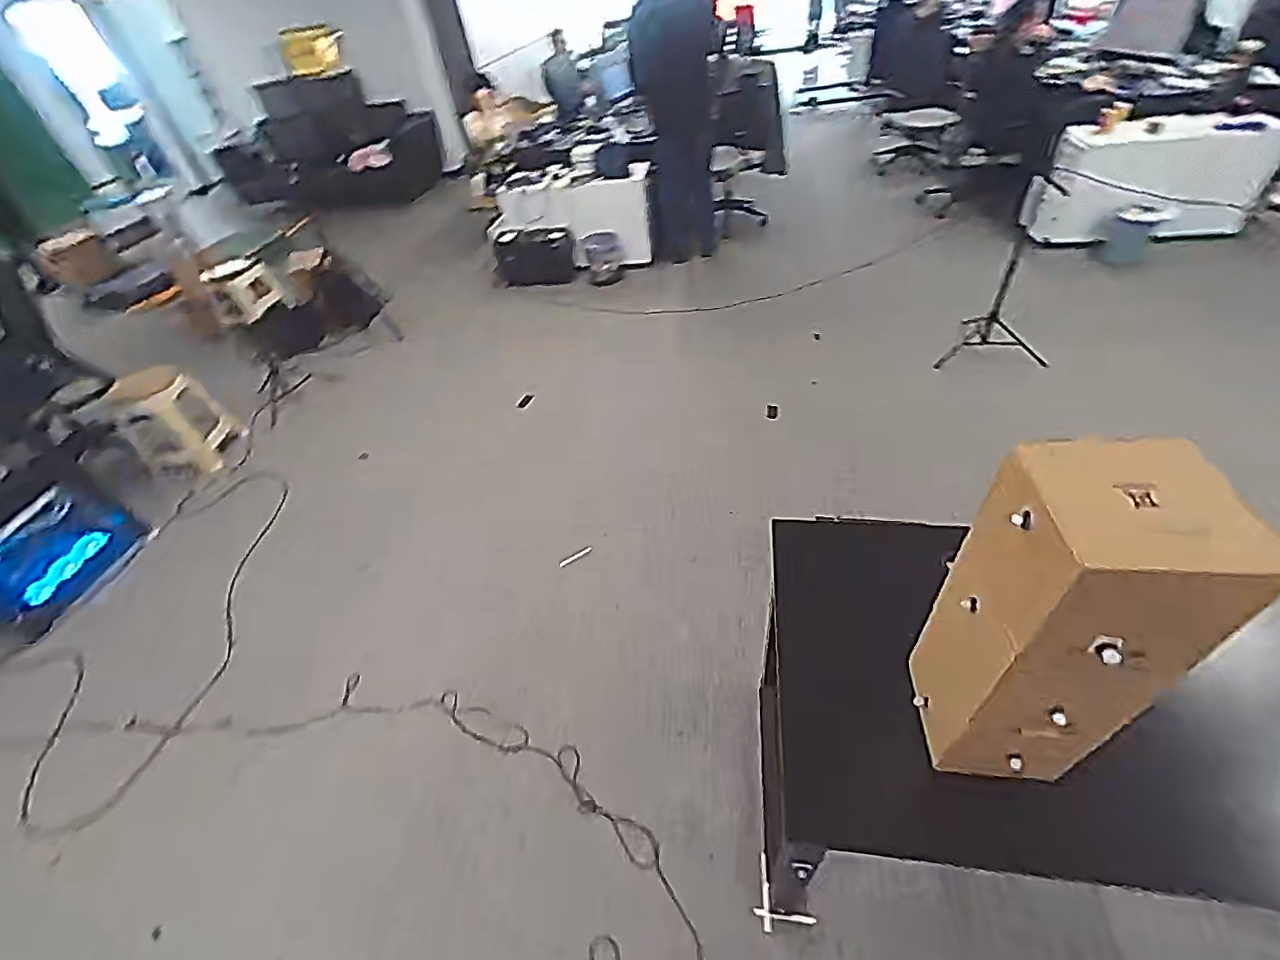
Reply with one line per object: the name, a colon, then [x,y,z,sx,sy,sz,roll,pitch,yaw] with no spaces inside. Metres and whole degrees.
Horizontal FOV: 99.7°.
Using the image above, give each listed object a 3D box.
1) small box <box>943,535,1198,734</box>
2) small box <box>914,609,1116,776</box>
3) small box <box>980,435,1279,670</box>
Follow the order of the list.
small box: [0.502,0.189,0.672,0.168,0.176,0.179,0,44,10]
small box: [0.520,0.309,0.783,0.168,0.176,0.179,0,44,9]
small box: [0.485,0.072,0.560,0.168,0.176,0.179,-1,44,10]
